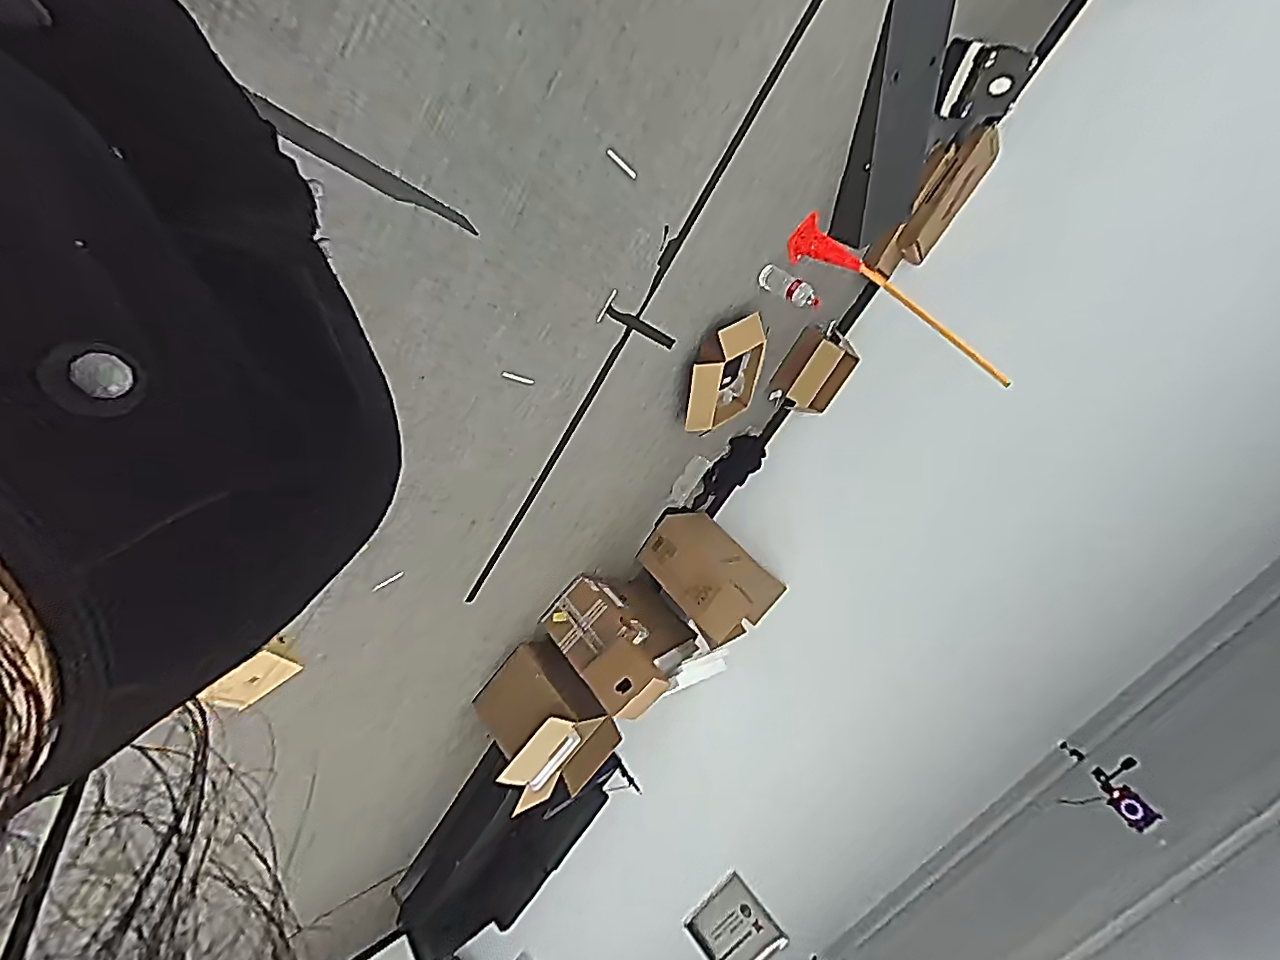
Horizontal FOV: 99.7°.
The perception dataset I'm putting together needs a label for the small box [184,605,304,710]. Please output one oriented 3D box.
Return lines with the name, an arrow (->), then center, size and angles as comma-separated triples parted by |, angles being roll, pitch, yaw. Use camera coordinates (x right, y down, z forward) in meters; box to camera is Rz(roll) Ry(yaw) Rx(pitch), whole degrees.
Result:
small box -> -1.023, 0.453, 1.395 | 0.179, 0.176, 0.168 | -35, 149, -16
